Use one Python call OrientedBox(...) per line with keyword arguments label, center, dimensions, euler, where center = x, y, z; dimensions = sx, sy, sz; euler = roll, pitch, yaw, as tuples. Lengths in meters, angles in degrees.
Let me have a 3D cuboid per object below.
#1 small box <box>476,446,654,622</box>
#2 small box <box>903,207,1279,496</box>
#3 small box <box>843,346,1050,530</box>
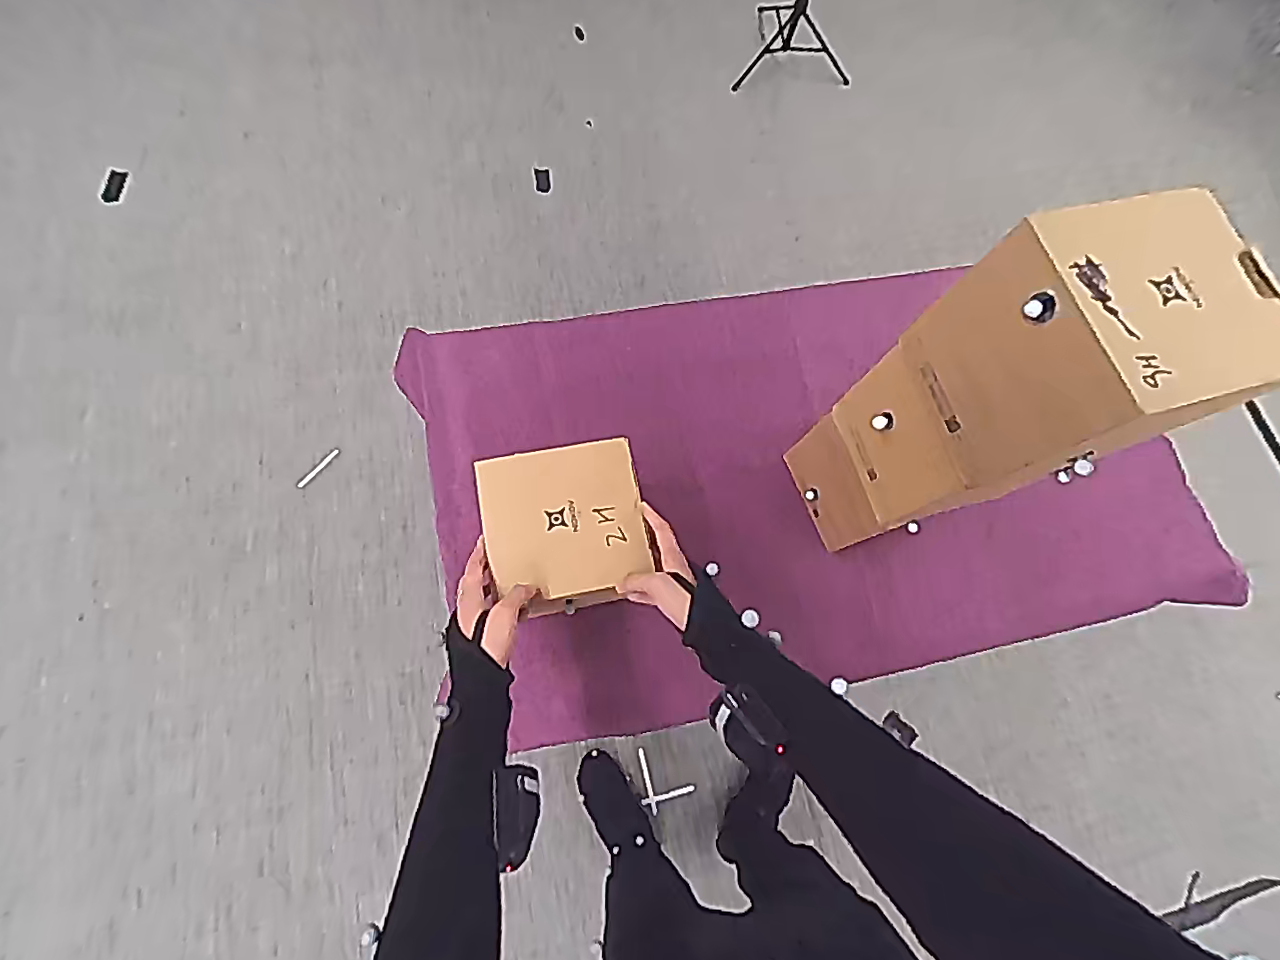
OrientedBox(label="small box", center=(-0.089, 0.074, 0.663), dimensions=(0.179, 0.176, 0.168), euler=(-9, 74, -8))
OrientedBox(label="small box", center=(0.372, -0.099, 0.465), dimensions=(0.179, 0.176, 0.168), euler=(-12, 73, -12))
OrientedBox(label="small box", center=(0.360, -0.051, 0.621), dimensions=(0.179, 0.176, 0.168), euler=(-13, 74, -12))
